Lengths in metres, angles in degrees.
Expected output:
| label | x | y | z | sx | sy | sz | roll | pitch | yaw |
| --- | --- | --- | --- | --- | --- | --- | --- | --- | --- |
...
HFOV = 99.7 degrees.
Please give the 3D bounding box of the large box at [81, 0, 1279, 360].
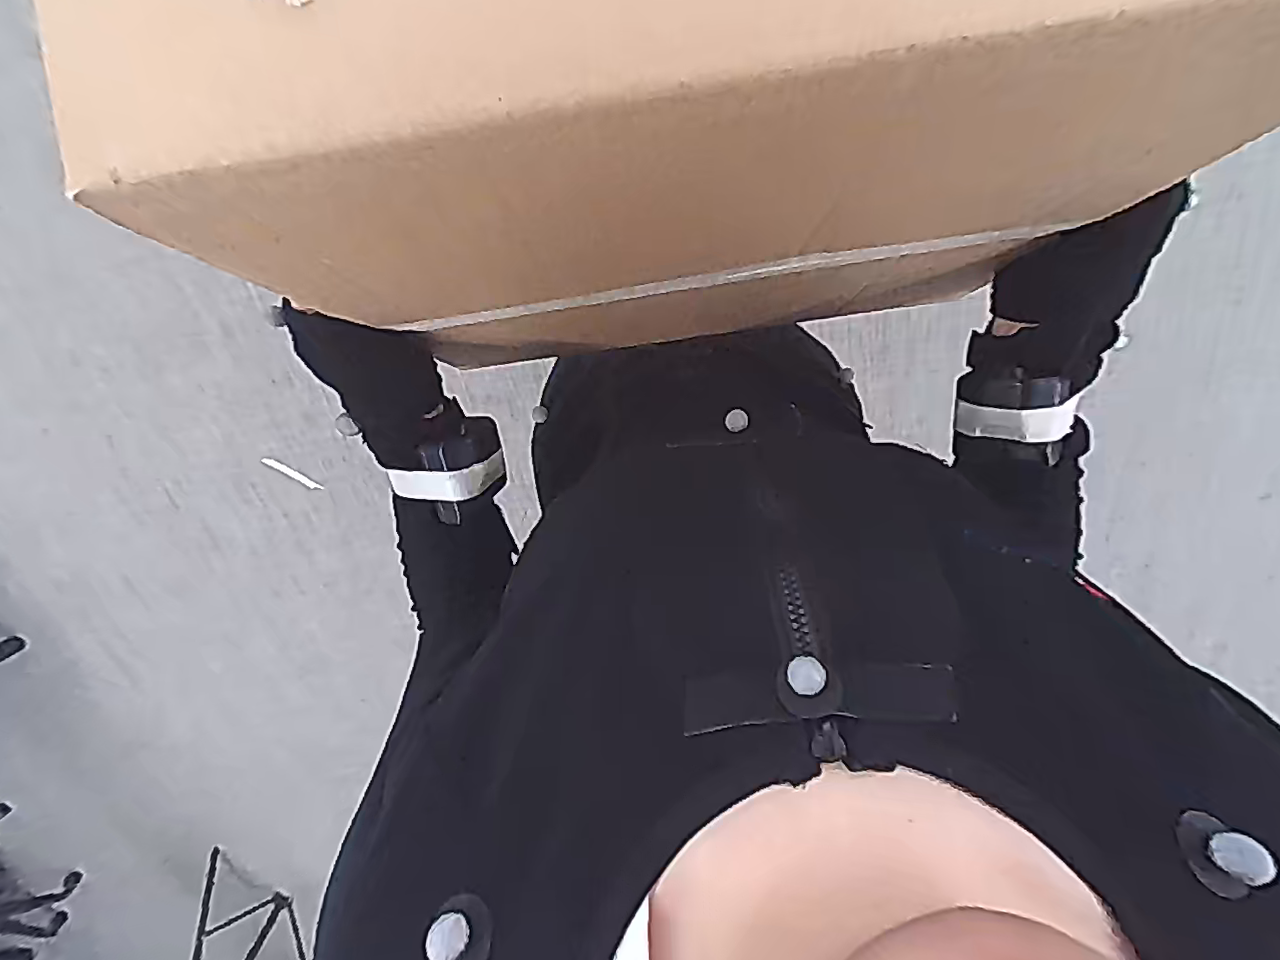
| label | x | y | z | sx | sy | sz | roll | pitch | yaw |
| --- | --- | --- | --- | --- | --- | --- | --- | --- | --- |
| large box | 0.023 | -0.272 | 0.292 | 0.408 | 0.320 | 0.320 | -8 | 93 | 2 |
